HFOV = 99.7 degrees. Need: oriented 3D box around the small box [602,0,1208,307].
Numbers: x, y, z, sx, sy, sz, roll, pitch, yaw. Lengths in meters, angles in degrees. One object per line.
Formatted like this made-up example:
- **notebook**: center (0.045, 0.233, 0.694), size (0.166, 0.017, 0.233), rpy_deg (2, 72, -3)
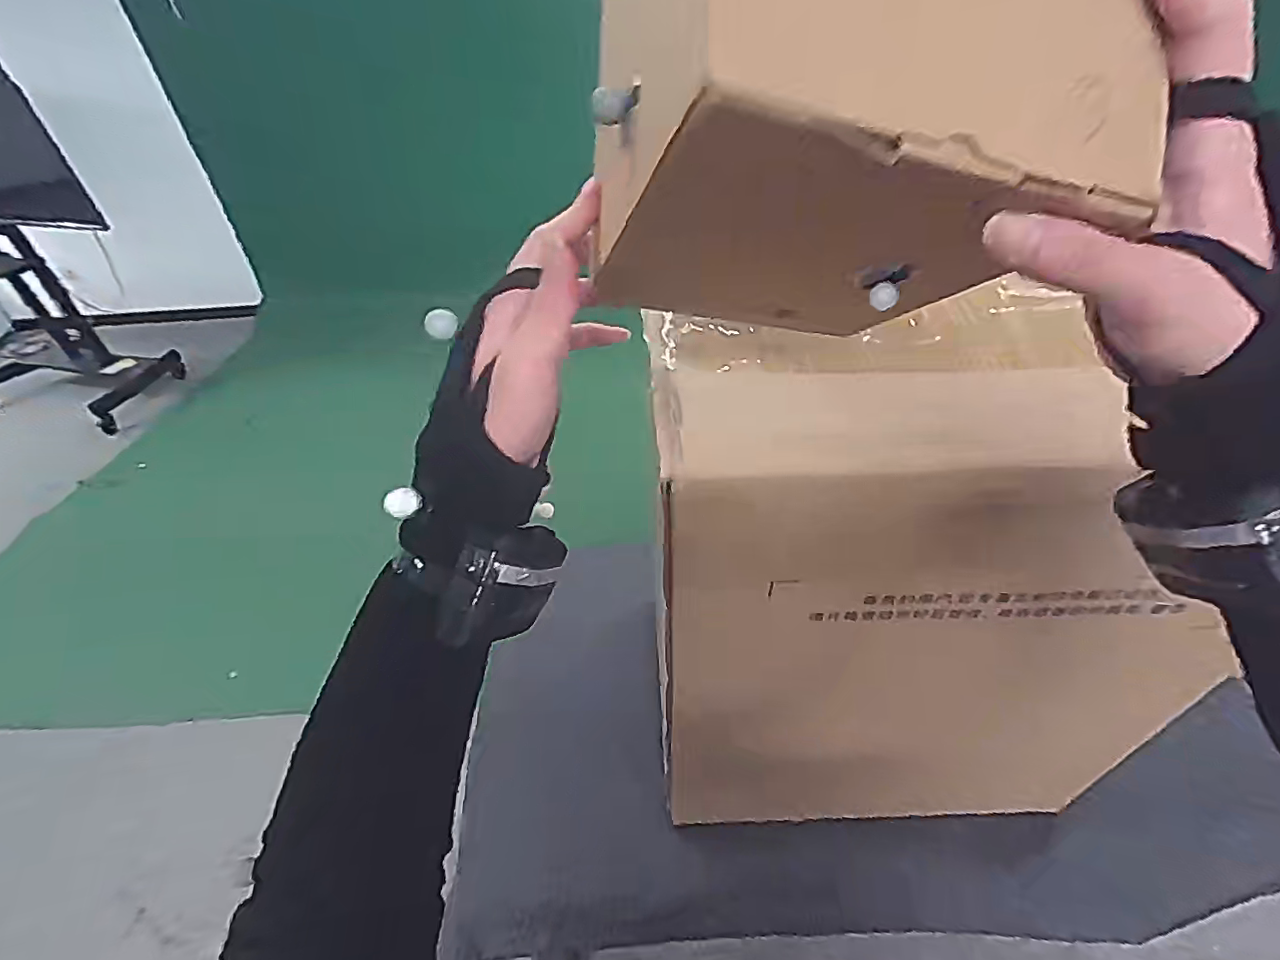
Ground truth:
- **small box**: center (0.083, -0.194, 0.233), size (0.168, 0.179, 0.176), rpy_deg (5, -5, -17)
